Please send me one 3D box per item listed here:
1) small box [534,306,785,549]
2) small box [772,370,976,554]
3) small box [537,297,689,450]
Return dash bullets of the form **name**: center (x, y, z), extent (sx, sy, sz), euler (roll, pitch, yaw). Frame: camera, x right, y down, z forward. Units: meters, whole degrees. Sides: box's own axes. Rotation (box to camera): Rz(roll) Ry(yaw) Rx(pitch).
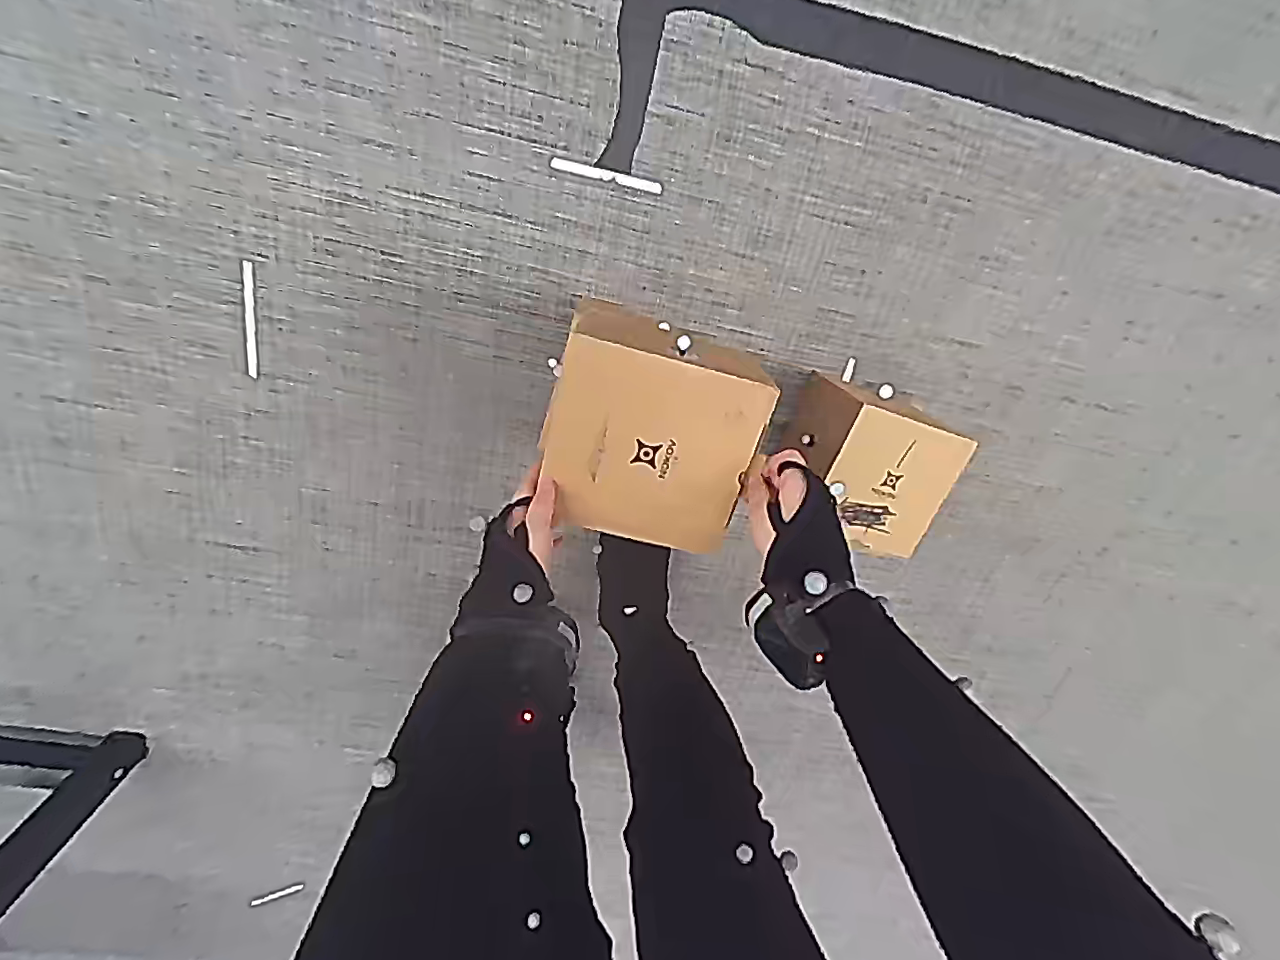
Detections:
- **small box**: center (0.010, -0.060, 0.523), extent (0.179, 0.176, 0.168), euler (14, 113, -8)
- **small box**: center (0.299, -0.031, 0.742), extent (0.168, 0.176, 0.179), euler (16, 112, -12)
- **small box**: center (-0.016, -0.118, 0.677), extent (0.179, 0.176, 0.168), euler (16, 112, -12)
